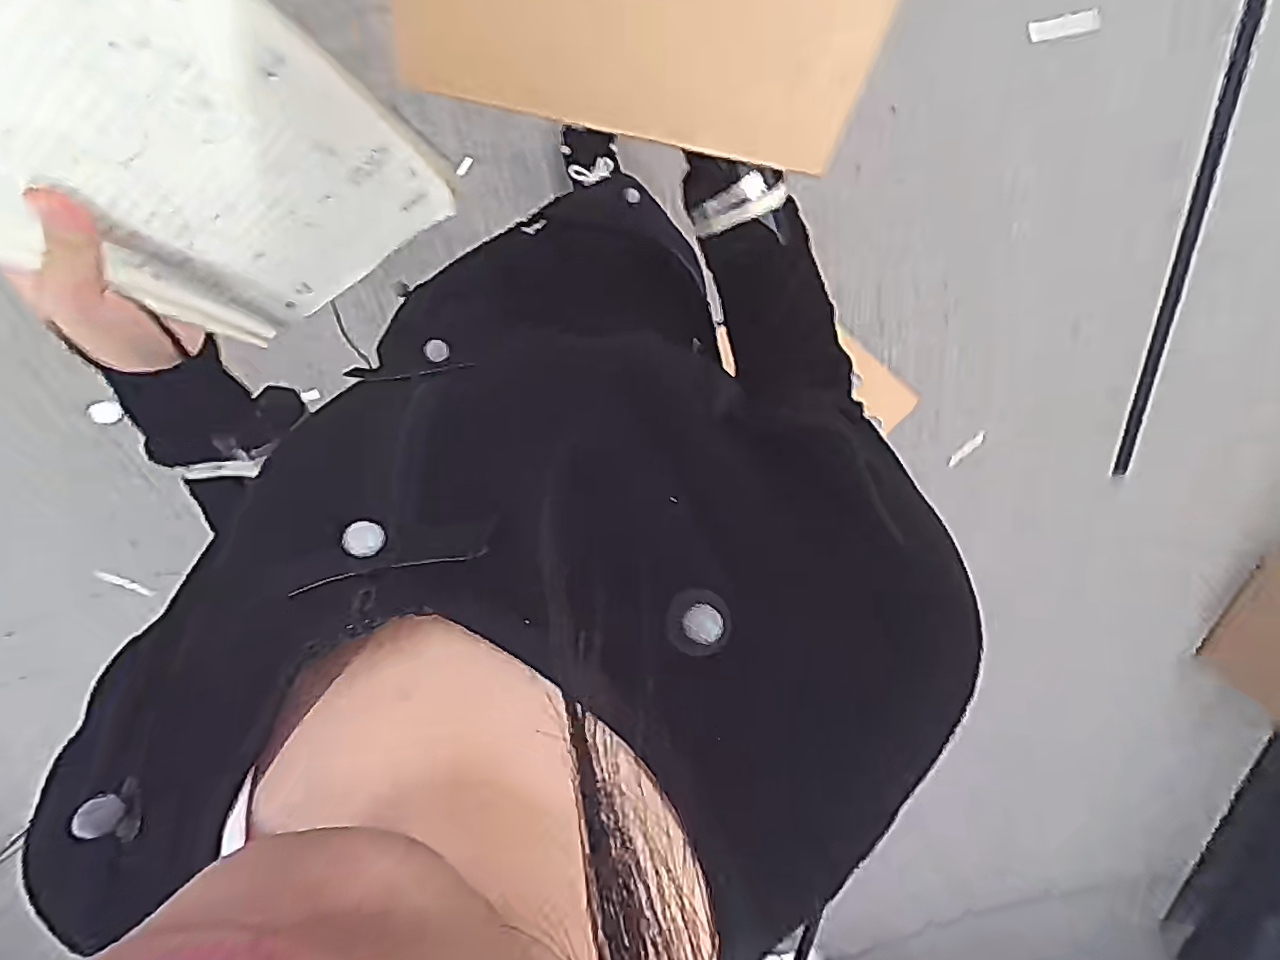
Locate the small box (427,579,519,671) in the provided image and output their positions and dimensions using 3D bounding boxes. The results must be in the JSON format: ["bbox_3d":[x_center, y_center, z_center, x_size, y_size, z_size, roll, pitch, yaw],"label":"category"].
[{"bbox_3d":[-0.403,0.360,1.332,0.168,0.176,0.179,-6,119,-1],"label":"small box"}]
